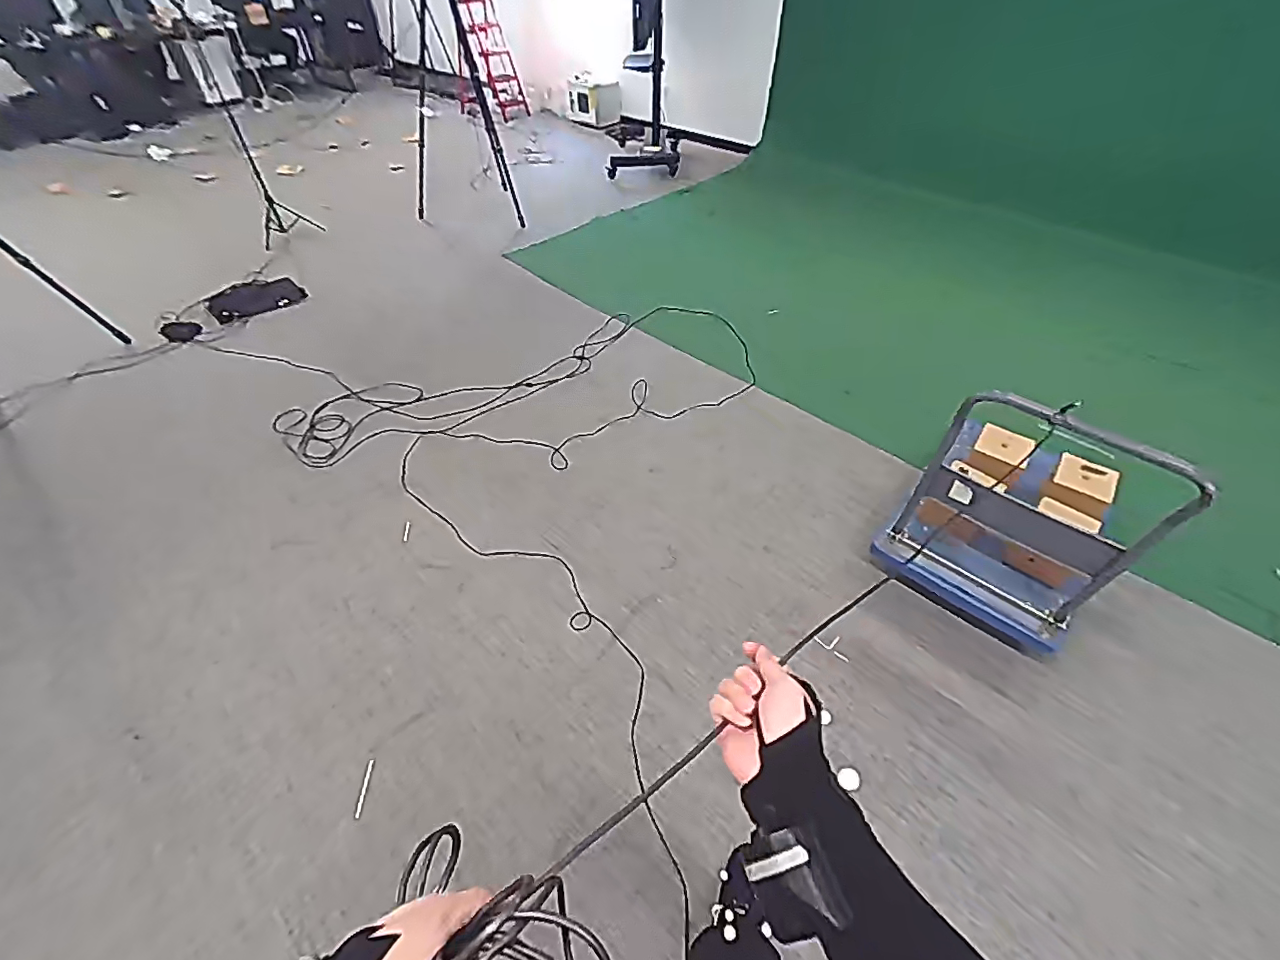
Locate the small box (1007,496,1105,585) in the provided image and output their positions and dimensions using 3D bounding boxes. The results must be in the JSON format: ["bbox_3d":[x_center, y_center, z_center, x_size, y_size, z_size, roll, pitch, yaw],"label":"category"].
[{"bbox_3d":[1.292,0.190,1.688,0.168,0.176,0.179,34,56,28],"label":"small box"}]

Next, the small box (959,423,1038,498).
[{"bbox_3d":[1.274,-0.068,1.933,0.168,0.176,0.179,30,54,25],"label":"small box"}]

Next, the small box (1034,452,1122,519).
[{"bbox_3d":[1.473,0.043,1.825,0.168,0.176,0.179,29,54,26],"label":"small box"}]
